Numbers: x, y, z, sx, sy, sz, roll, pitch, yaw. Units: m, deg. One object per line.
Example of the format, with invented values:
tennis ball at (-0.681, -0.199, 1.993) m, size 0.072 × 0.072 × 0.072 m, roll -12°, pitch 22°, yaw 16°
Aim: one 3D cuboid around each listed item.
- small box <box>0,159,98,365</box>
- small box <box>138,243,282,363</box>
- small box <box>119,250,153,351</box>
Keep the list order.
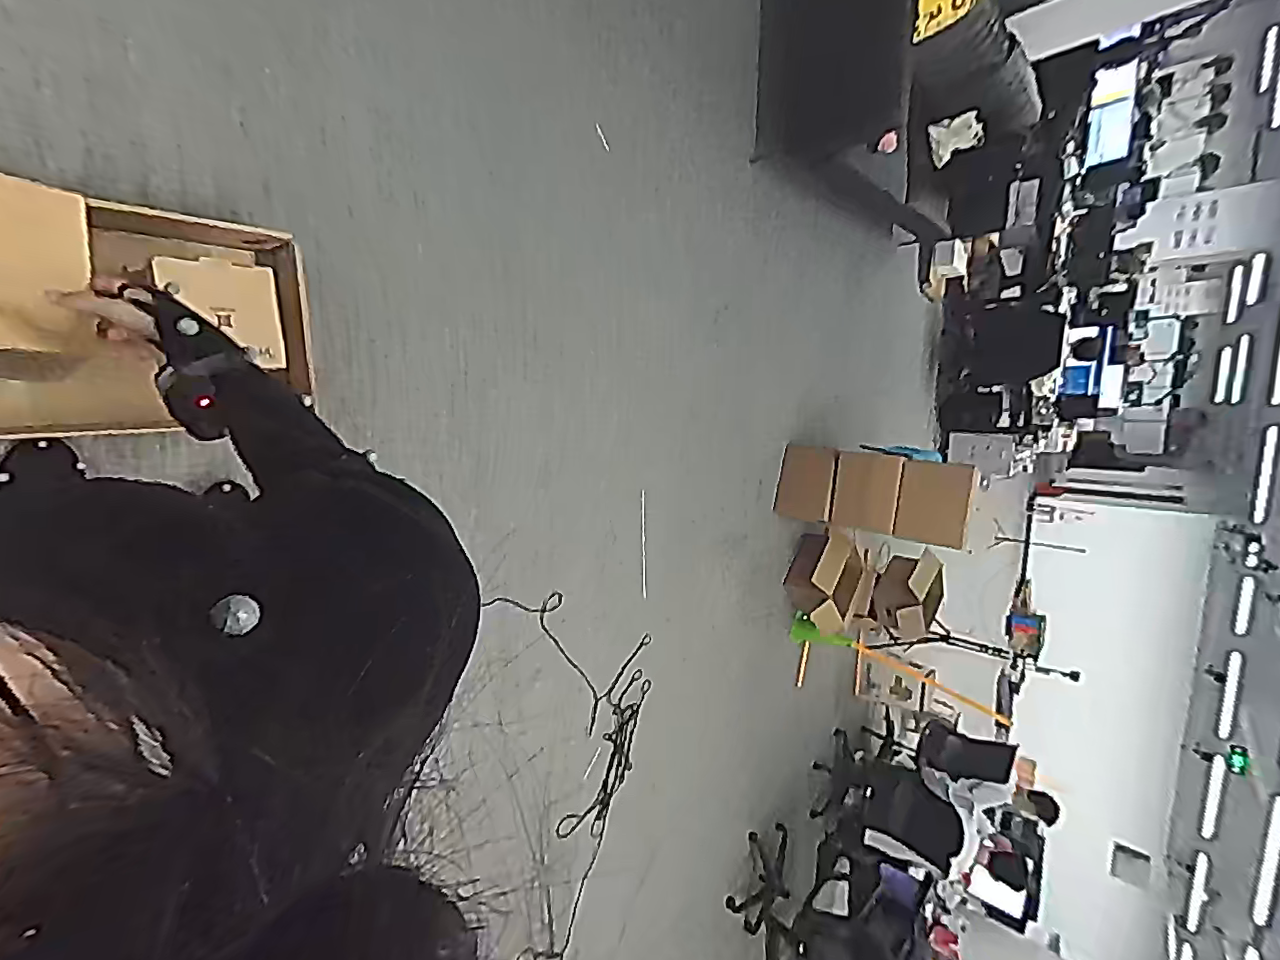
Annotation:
small box at (-0.668, -0.211, 0.521) m, size 0.179 × 0.176 × 0.168 m, roll -6°, pitch 92°, yaw -54°
small box at (-0.764, -0.303, 0.962) m, size 0.168 × 0.176 × 0.179 m, roll -12°, pitch 105°, yaw -45°
small box at (-0.889, -0.344, 1.063) m, size 0.179 × 0.176 × 0.168 m, roll -18°, pitch 110°, yaw -45°
